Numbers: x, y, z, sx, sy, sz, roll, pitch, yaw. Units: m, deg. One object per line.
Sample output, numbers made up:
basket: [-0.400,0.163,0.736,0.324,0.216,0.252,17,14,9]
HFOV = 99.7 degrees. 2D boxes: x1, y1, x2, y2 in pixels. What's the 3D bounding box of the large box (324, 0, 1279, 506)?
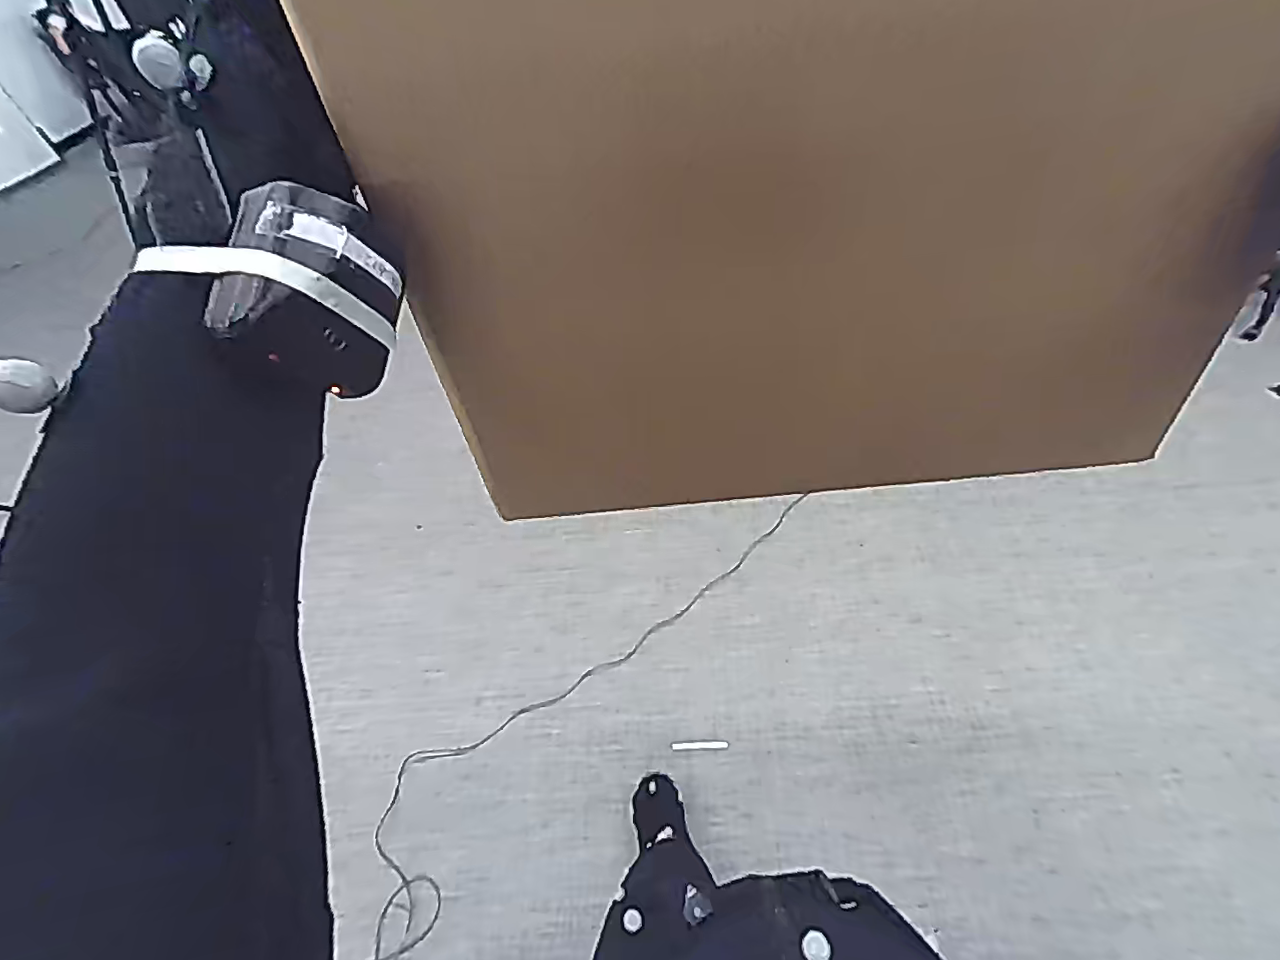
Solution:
large box: [0.084,-0.209,0.374,0.408,0.320,0.320,-6,40,4]
